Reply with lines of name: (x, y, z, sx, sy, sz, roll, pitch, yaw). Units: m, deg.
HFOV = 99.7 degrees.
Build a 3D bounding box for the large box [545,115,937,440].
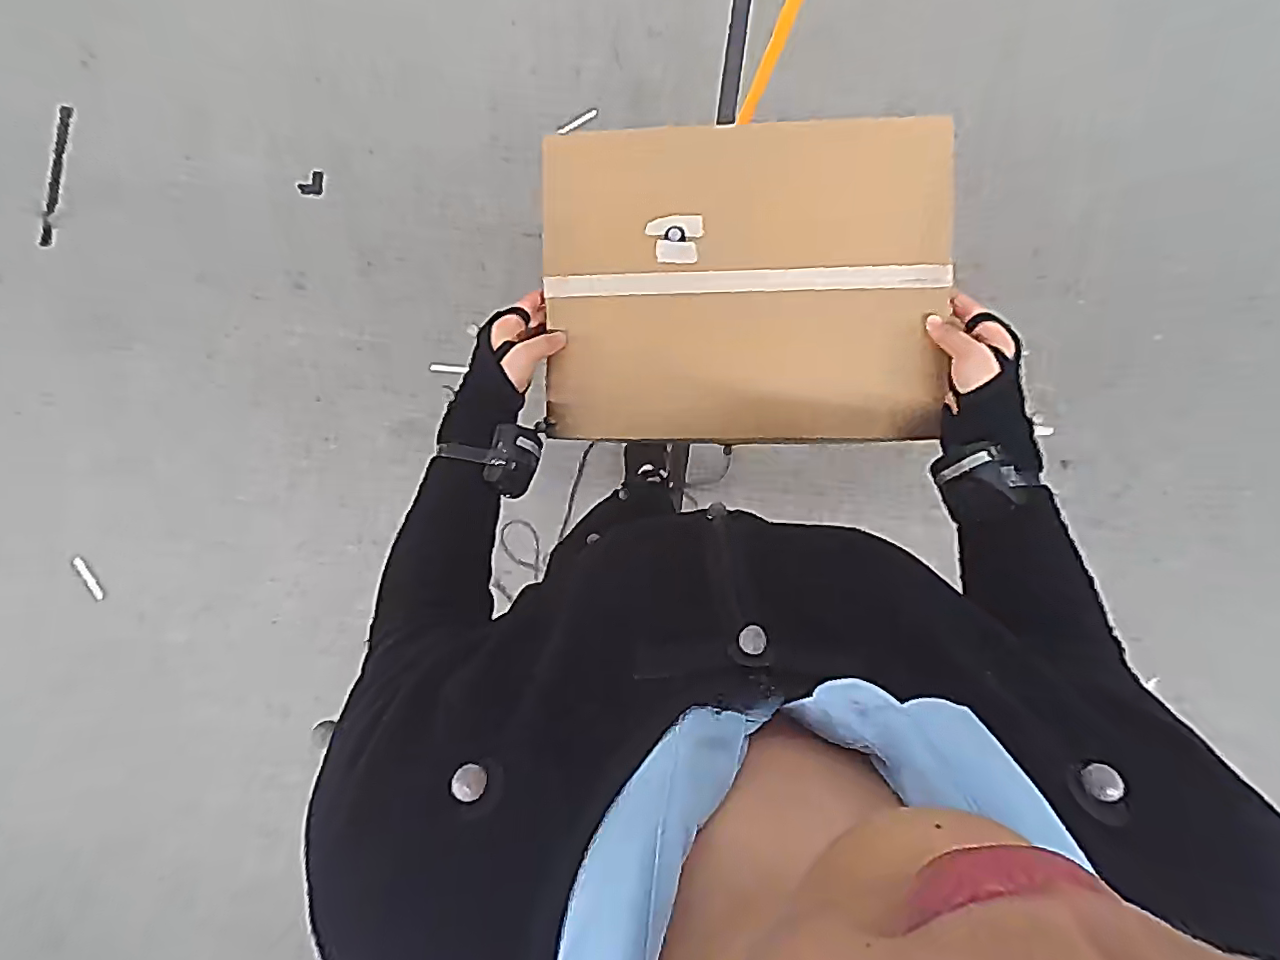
large box: (0.116, -0.213, 0.707, 0.408, 0.320, 0.320, -1, 92, 5)
